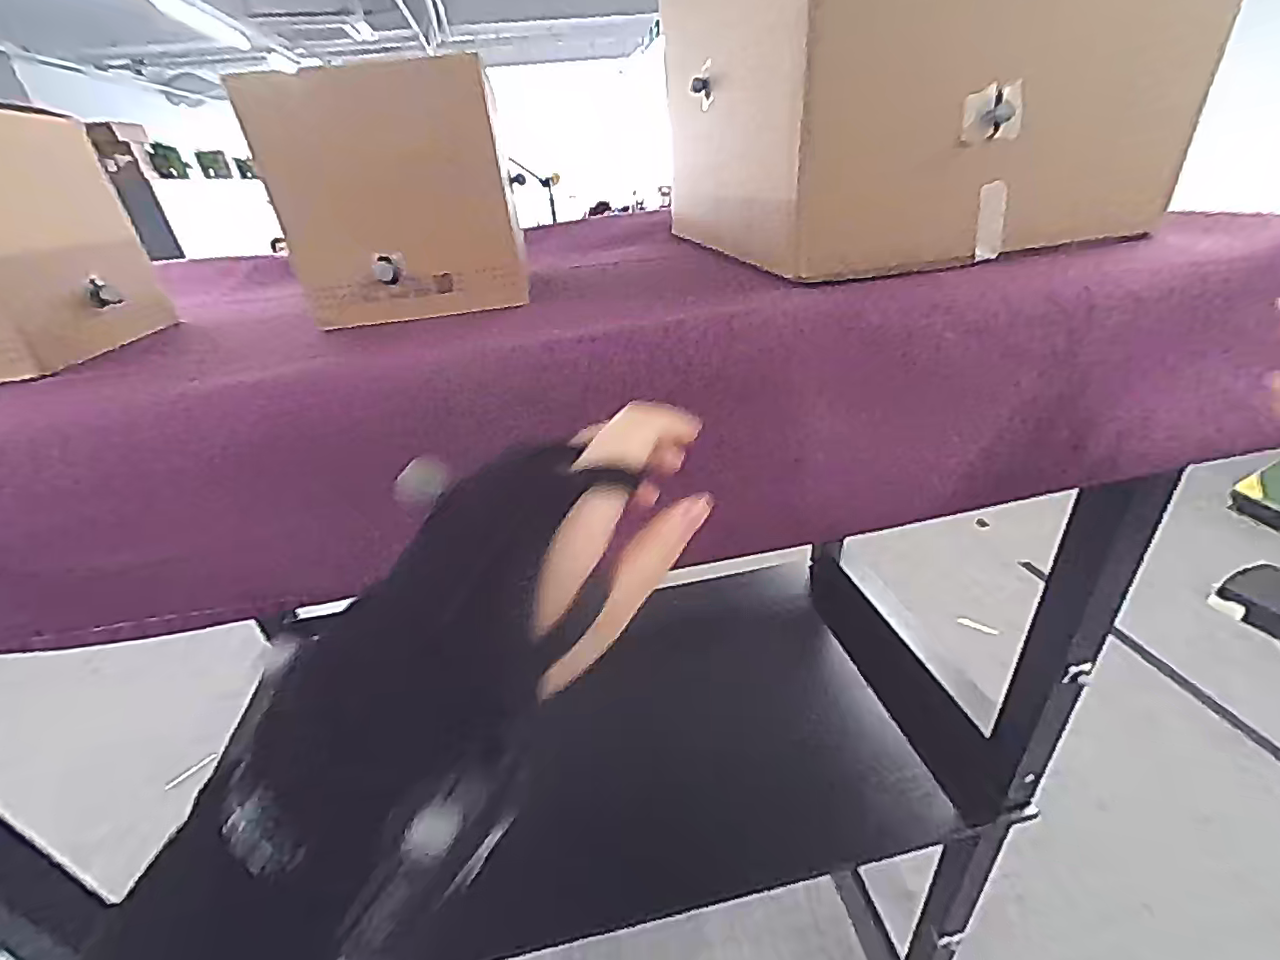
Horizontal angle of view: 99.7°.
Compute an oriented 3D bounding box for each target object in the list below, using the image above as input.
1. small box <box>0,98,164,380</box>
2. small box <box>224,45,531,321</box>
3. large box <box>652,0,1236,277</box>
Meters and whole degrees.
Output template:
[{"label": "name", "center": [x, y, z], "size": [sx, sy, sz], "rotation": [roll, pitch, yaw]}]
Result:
[{"label": "small box", "center": [-0.504, -0.170, 0.391], "size": [0.168, 0.176, 0.179], "rotation": [-11, 30, -7]}, {"label": "small box", "center": [-0.192, -0.243, 0.461], "size": [0.168, 0.176, 0.179], "rotation": [-10, 30, -5]}, {"label": "large box", "center": [0.209, -0.390, 0.500], "size": [0.320, 0.320, 0.408], "rotation": [-10, 29, -7]}]
